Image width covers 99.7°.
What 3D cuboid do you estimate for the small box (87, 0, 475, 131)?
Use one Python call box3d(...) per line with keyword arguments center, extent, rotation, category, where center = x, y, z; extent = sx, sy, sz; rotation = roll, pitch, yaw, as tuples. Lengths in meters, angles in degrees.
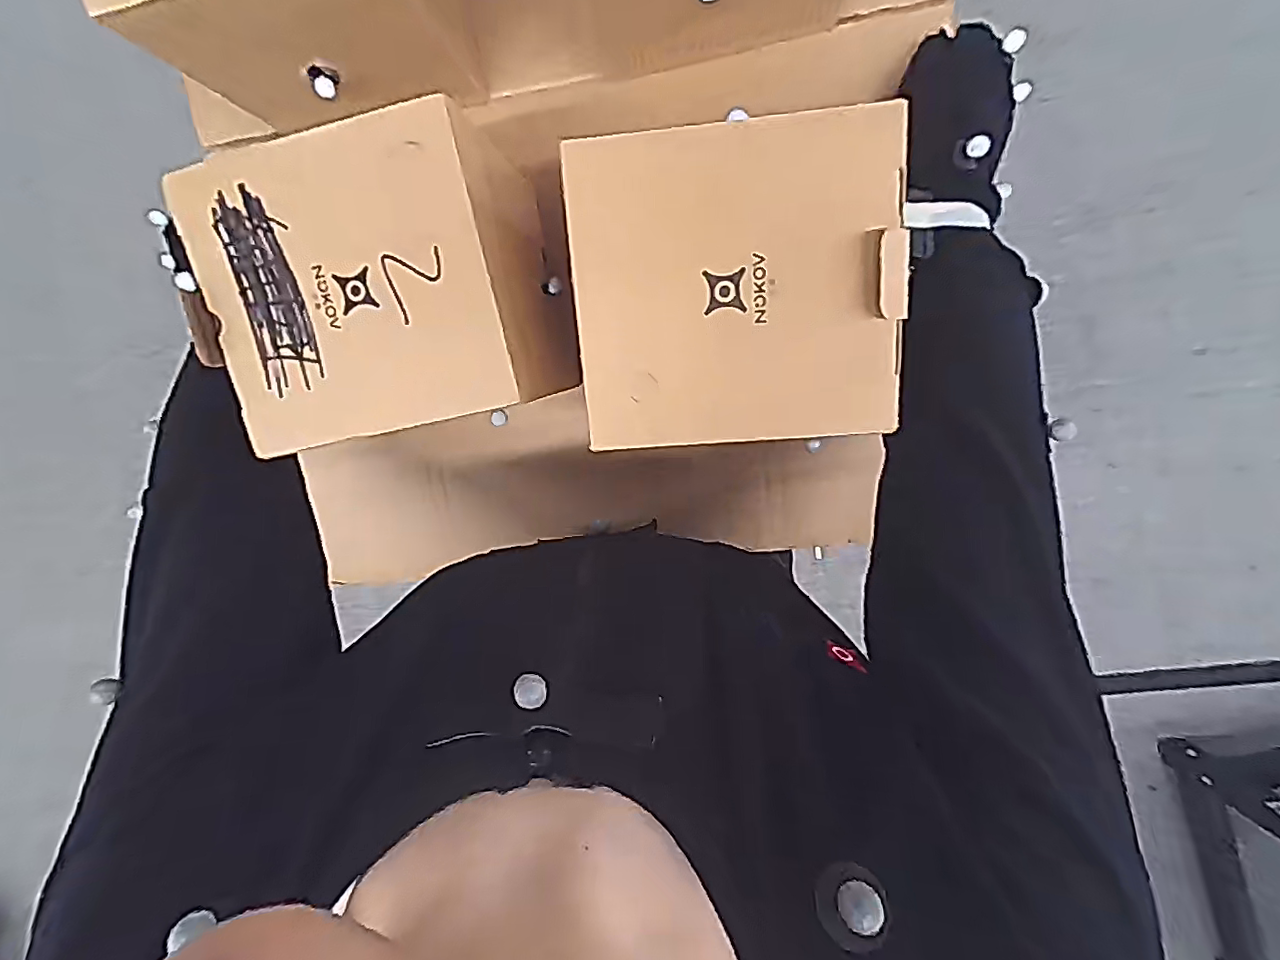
box3d(center=(-0.226, -0.359, 0.352), extent=(0.168, 0.176, 0.179), rotation=(-7, 99, 7), category="small box")
